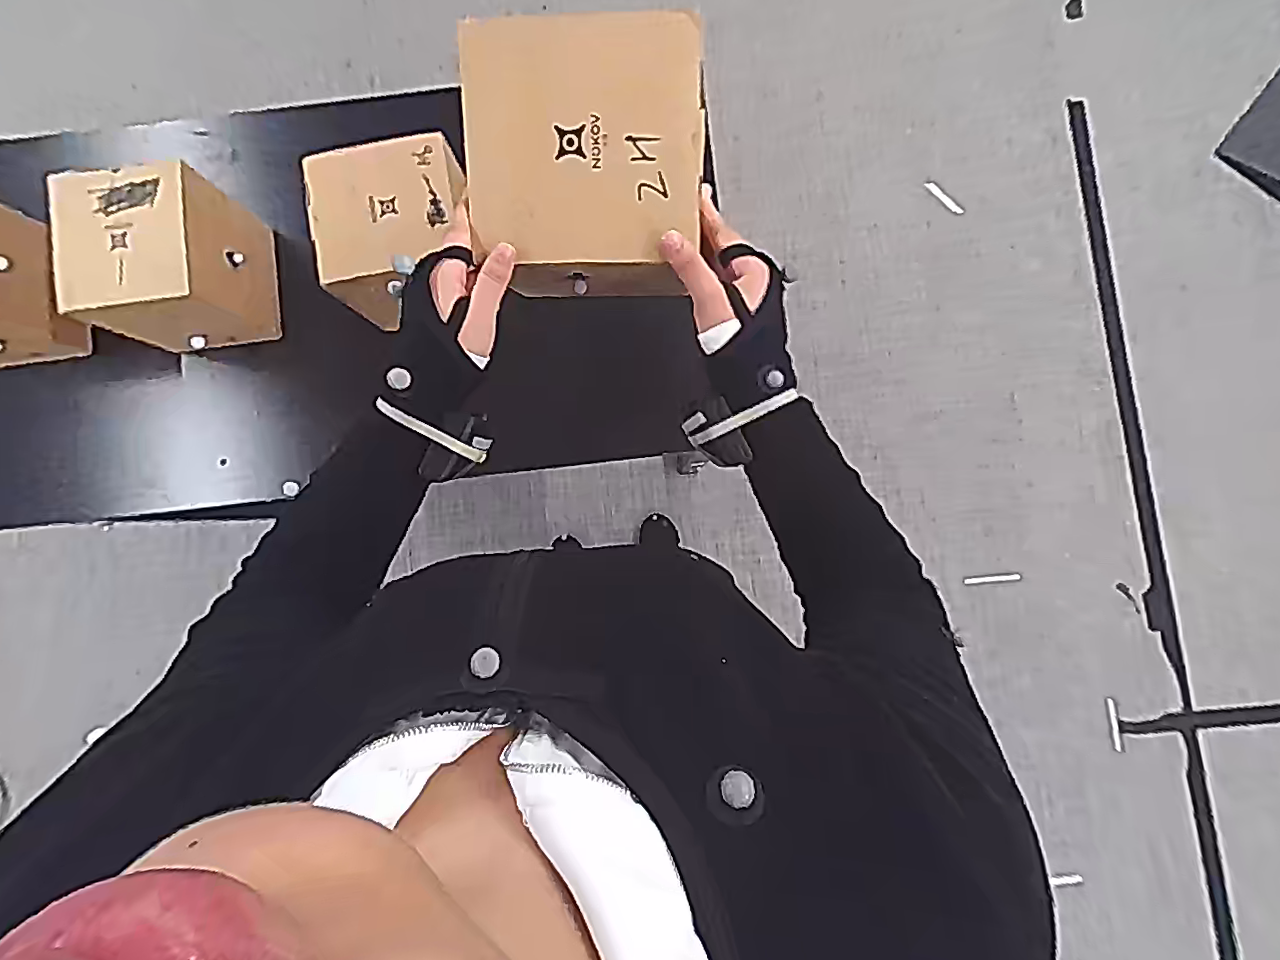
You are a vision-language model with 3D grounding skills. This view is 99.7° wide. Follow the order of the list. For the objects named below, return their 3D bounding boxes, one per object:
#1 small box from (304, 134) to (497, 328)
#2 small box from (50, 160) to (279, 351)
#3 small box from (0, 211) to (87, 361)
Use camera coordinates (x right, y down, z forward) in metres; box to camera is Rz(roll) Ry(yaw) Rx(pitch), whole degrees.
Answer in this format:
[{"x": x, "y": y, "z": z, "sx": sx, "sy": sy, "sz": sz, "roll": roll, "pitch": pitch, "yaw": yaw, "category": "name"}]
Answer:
[{"x": -0.314, "y": -0.323, "z": 0.736, "sx": 0.179, "sy": 0.176, "sz": 0.168, "roll": -11, "pitch": 86, "yaw": 0, "category": "small box"}, {"x": -0.630, "y": -0.293, "z": 0.736, "sx": 0.168, "sy": 0.176, "sz": 0.179, "roll": -7, "pitch": 87, "yaw": 0, "category": "small box"}, {"x": -0.916, "y": -0.269, "z": 0.738, "sx": 0.168, "sy": 0.176, "sz": 0.179, "roll": -8, "pitch": 85, "yaw": -1, "category": "small box"}]
